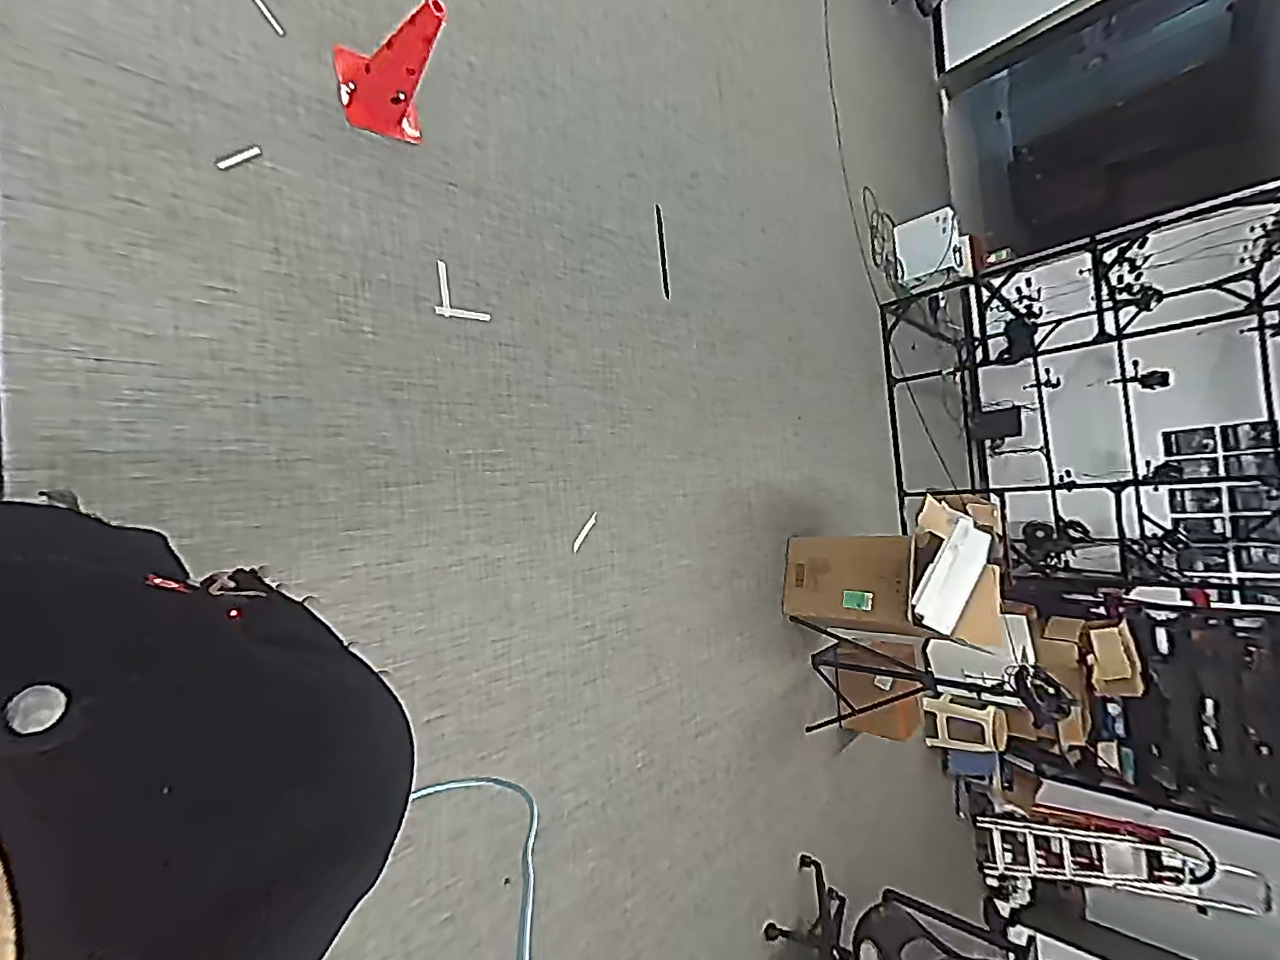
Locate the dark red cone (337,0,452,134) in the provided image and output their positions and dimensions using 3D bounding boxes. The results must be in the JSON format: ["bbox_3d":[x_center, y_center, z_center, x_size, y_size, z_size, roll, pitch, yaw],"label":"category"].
[{"bbox_3d":[-0.556,-1.034,1.295,0.201,0.394,0.202,-14,96,-45],"label":"dark red cone"}]
